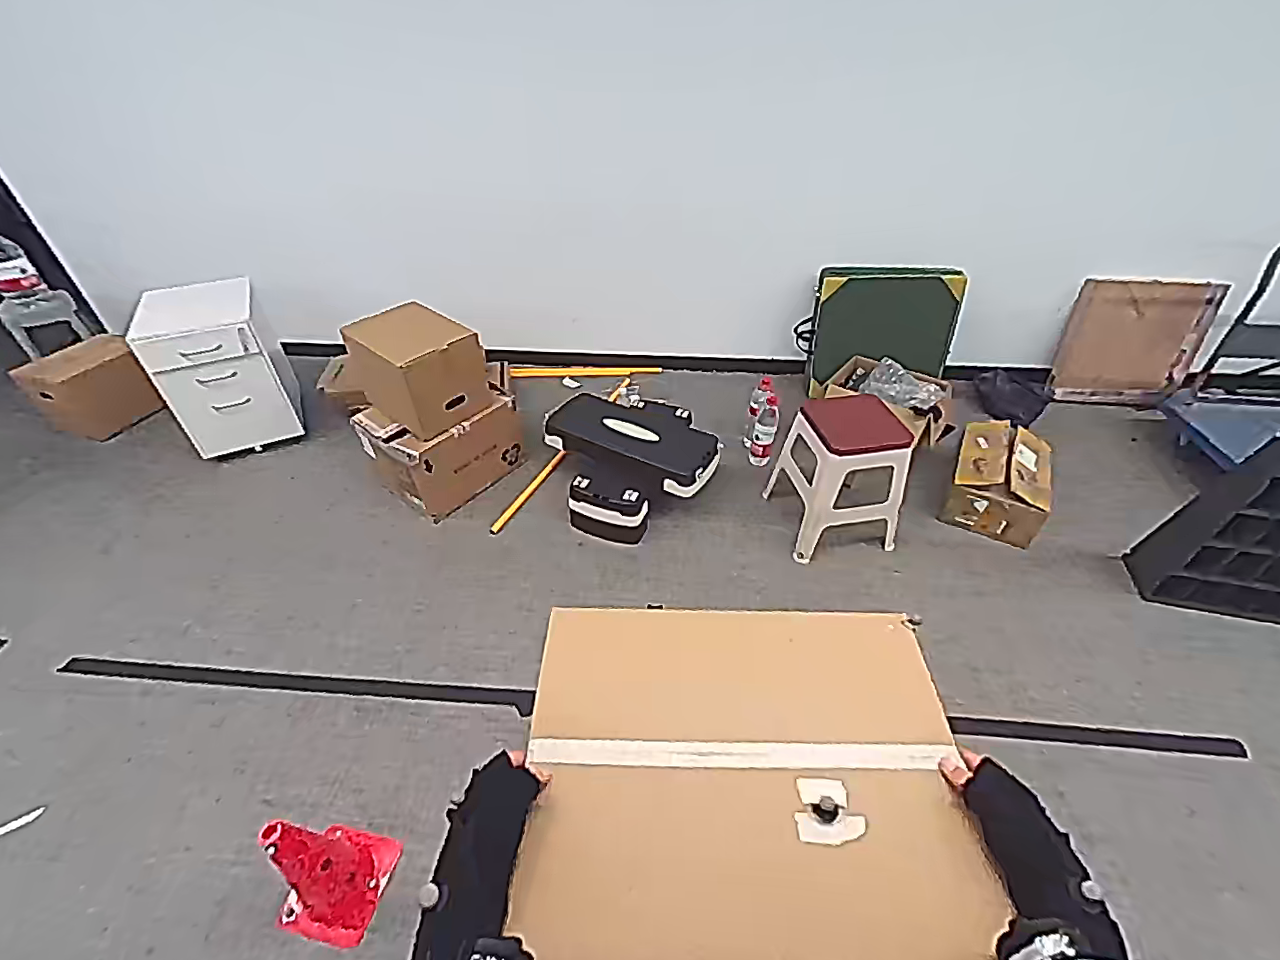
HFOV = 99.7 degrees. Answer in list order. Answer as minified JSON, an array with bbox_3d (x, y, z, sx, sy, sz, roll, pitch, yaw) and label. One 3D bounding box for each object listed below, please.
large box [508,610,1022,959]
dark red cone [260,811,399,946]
[{"bbox_3d":[0.096,0.366,0.621,0.408,0.320,0.320,1,45,1],"label":"large box"},{"bbox_3d":[-0.664,0.763,1.090,0.201,0.394,0.202,8,42,8],"label":"dark red cone"}]
